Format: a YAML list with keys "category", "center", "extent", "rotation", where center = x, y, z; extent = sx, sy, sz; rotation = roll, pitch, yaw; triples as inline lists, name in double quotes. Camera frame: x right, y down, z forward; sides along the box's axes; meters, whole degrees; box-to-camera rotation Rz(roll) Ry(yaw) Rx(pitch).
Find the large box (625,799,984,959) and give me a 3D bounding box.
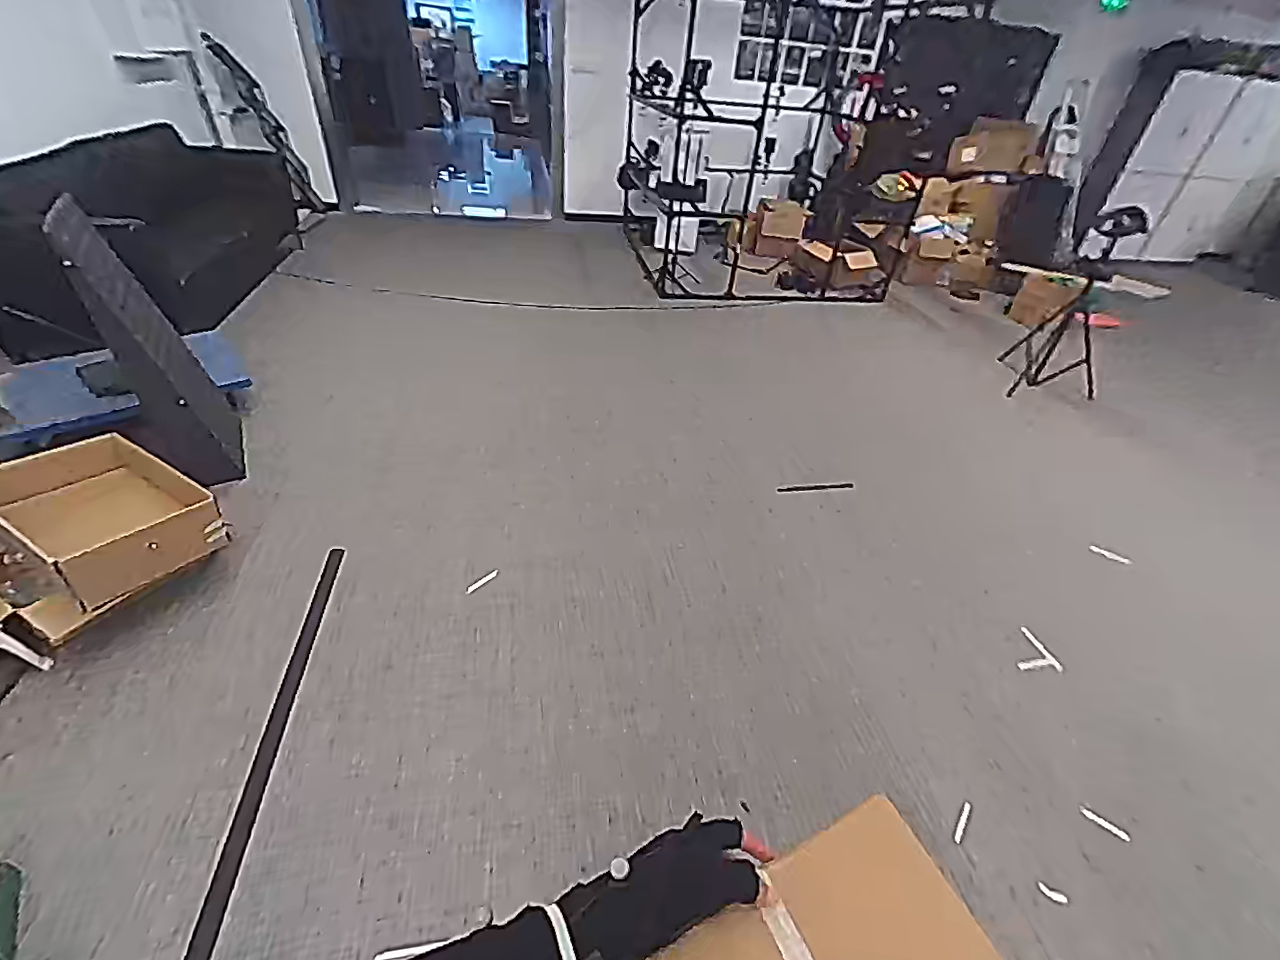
- category: "large box"
  center: [0.173, 0.595, 0.480]
  extent: [0.320, 0.320, 0.408]
  rotation: [-18, 50, -21]
